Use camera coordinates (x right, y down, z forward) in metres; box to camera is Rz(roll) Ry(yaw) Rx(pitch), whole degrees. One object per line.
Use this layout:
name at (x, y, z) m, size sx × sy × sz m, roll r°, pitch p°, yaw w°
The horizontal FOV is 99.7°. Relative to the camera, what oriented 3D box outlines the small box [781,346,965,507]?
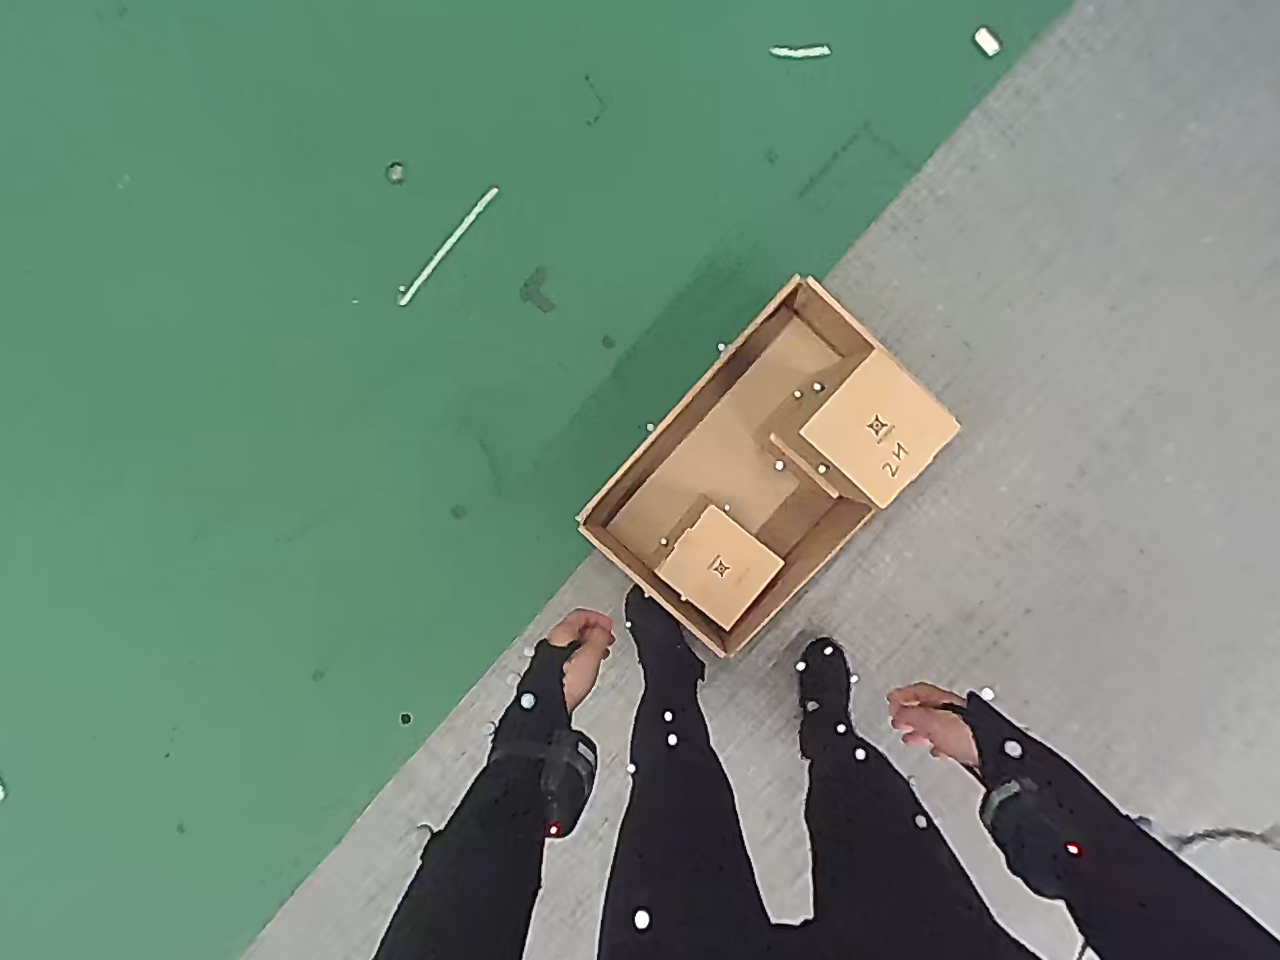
small box at (0.350, -0.082, 0.853) m, size 0.179 × 0.176 × 0.168 m, roll 42°, pitch 95°, yaw -4°
